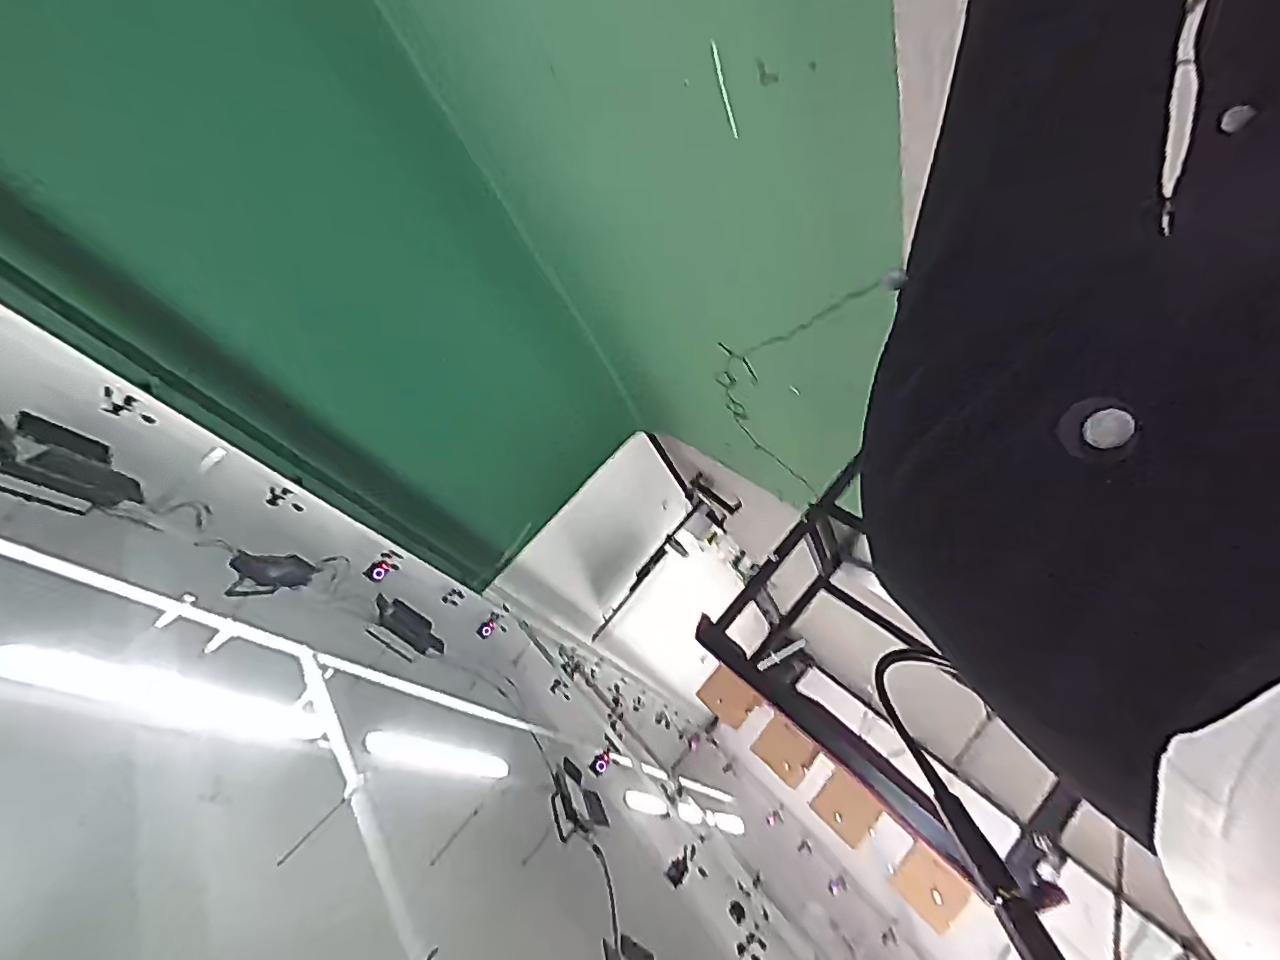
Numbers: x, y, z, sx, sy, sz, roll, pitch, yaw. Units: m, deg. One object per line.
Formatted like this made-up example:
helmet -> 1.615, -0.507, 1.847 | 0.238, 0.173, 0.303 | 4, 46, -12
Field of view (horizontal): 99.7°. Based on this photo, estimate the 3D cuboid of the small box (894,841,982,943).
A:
small box -> 0.870, 1.197, 1.585 | 0.168, 0.176, 0.179 | 36, 170, 37

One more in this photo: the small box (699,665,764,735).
small box -> 0.366, 0.854, 2.105 | 0.179, 0.176, 0.168 | 35, 166, 37
